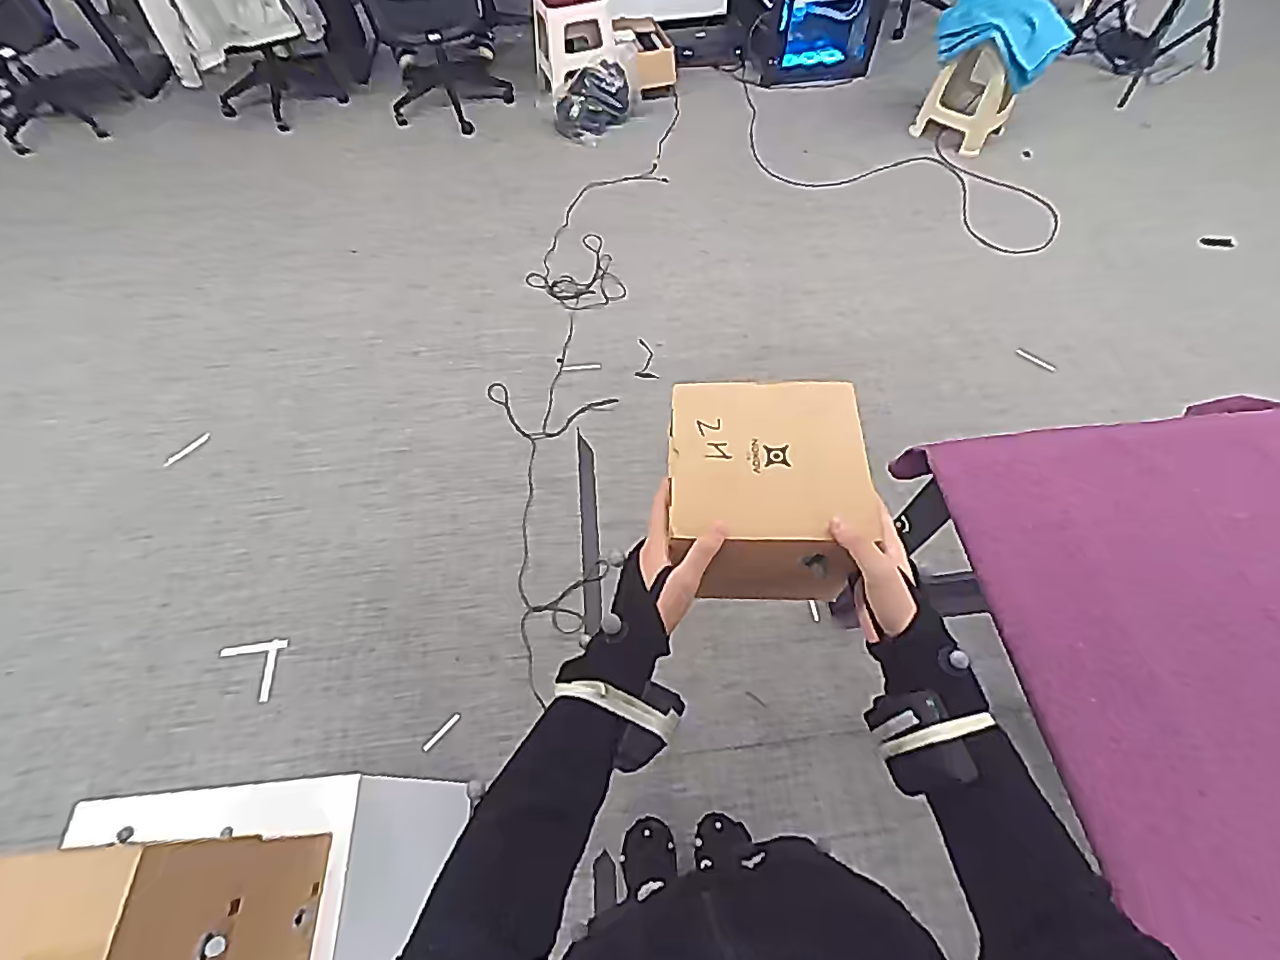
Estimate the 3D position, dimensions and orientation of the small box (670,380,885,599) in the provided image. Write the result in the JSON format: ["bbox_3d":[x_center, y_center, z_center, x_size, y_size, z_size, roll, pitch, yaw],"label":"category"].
[{"bbox_3d":[0.120,0.016,0.548,0.179,0.176,0.168,0,61,5],"label":"small box"}]

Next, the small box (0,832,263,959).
[{"bbox_3d":[-0.494,0.422,0.485,0.179,0.176,0.168,-3,61,-1],"label":"small box"}]
